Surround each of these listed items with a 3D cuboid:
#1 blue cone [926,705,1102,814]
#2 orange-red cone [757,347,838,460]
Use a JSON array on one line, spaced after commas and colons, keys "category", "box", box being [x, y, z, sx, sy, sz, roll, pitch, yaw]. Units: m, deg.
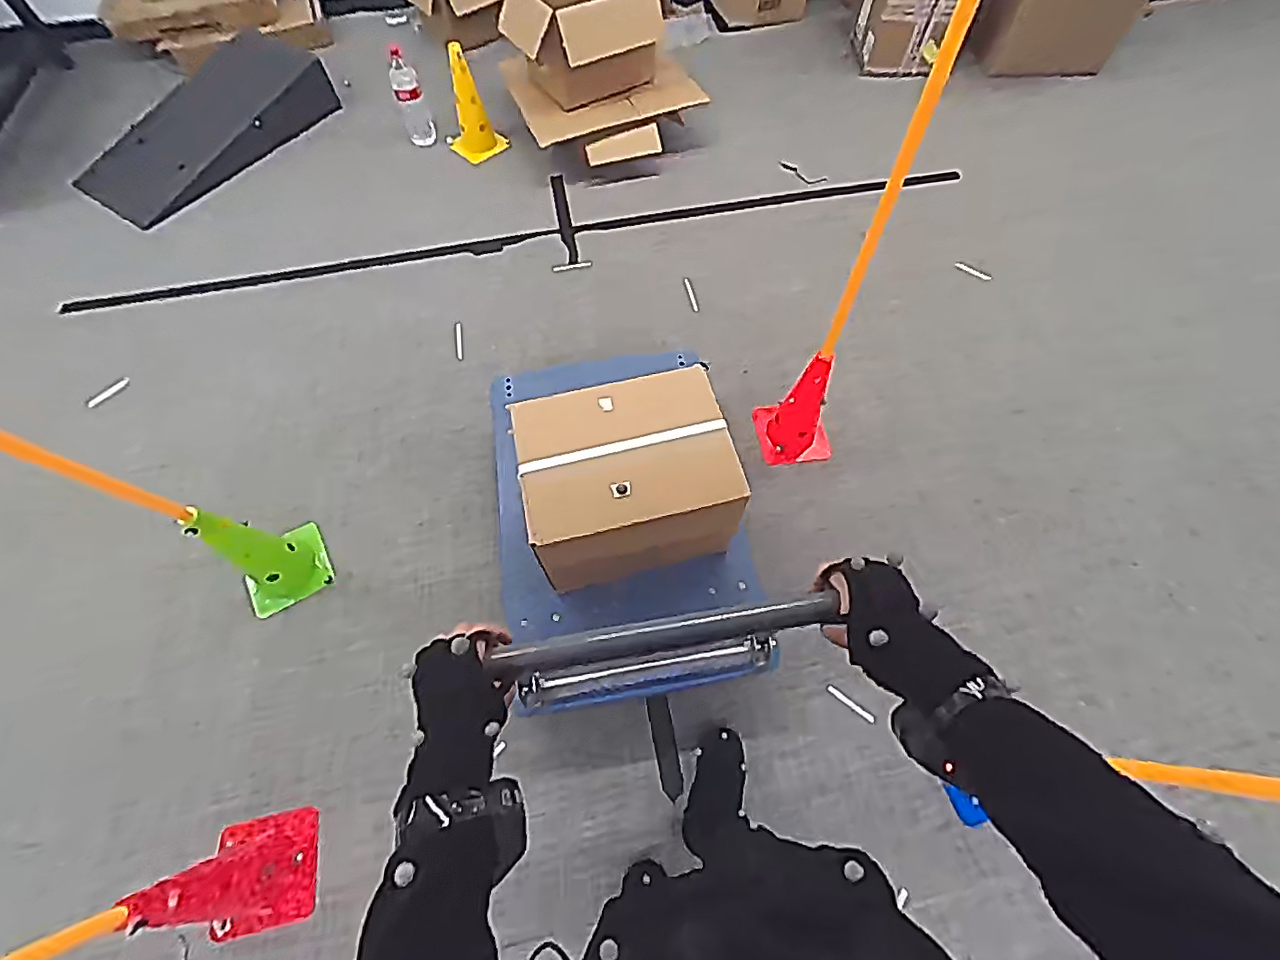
[{"category": "blue cone", "box": [0.758, 0.544, 1.061, 0.193, 0.380, 0.192, -14, 62, -7]}, {"category": "orange-red cone", "box": [0.455, -0.224, 1.443, 0.199, 0.360, 0.198, -4, 63, -3]}]
